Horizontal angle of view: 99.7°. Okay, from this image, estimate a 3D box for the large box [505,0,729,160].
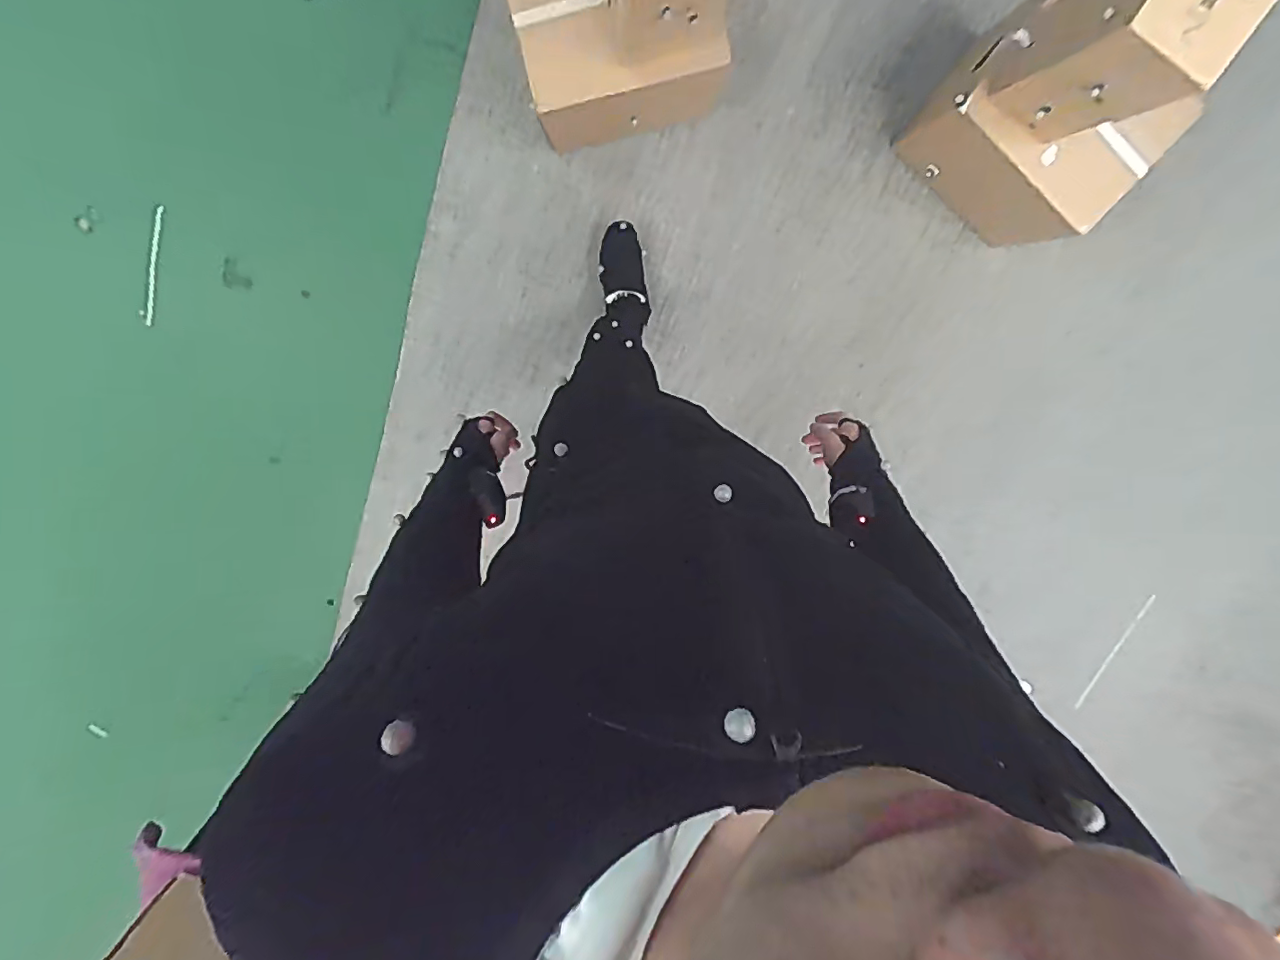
[{"bbox_3d":[-0.050,-0.952,1.179,0.408,0.320,0.320,-13,106,4],"label":"large box"}]

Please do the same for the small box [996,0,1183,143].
[{"bbox_3d":[0.806,-0.765,0.999,0.168,0.176,0.179,29,106,-10],"label":"small box"}]

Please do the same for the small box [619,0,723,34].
[{"bbox_3d":[0.039,-0.812,0.796,0.168,0.176,0.179,-12,108,3],"label":"small box"}]
